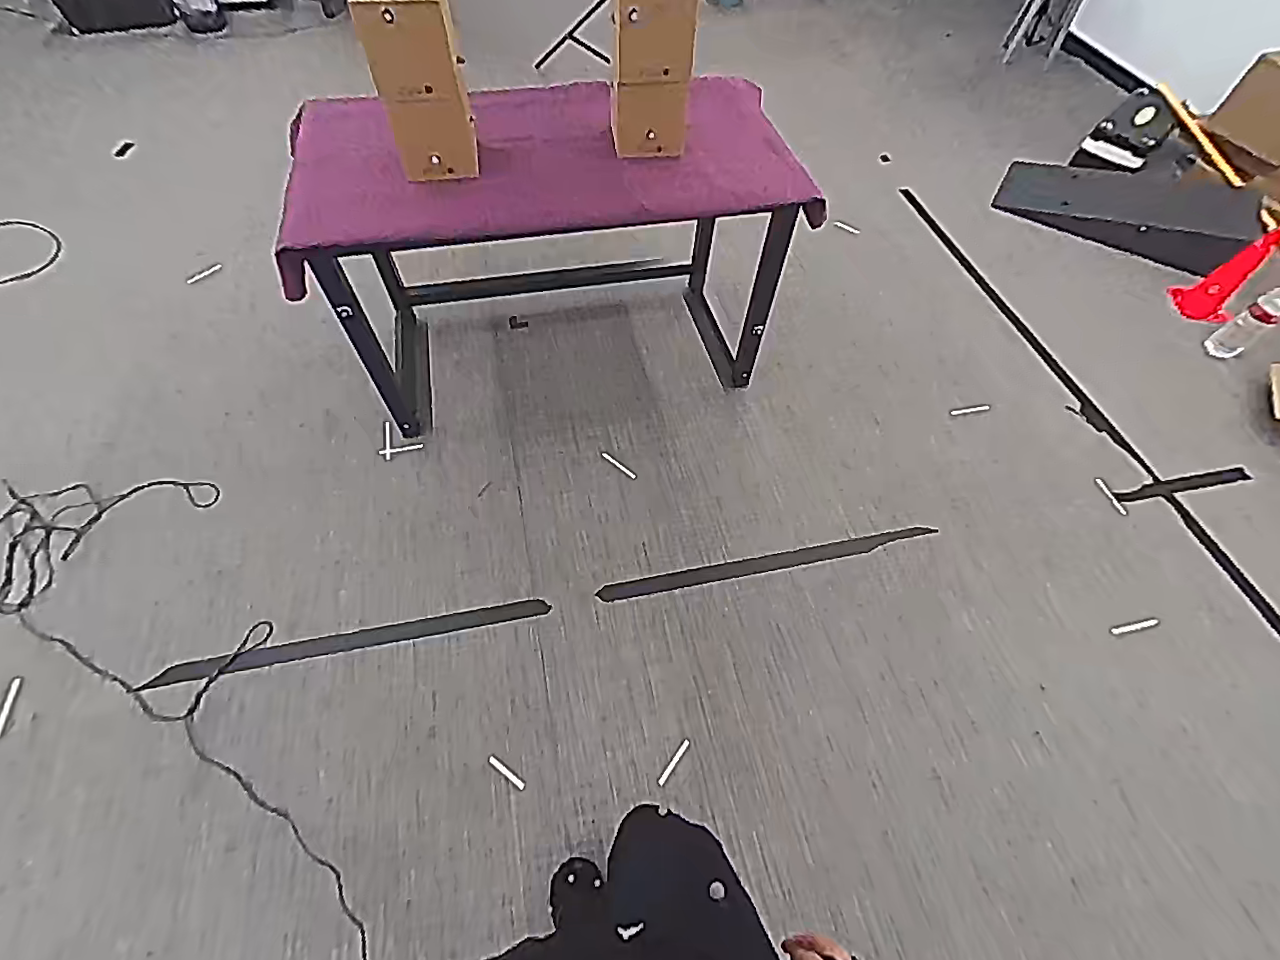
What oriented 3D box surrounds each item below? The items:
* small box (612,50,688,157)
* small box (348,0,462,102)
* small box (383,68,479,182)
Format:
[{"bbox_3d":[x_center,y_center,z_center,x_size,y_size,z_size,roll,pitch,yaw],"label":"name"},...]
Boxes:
[{"bbox_3d":[0.017,-0.921,1.325,0.168,0.176,0.179,-6,59,-5],"label":"small box"},{"bbox_3d":[-0.467,-0.900,1.100,0.168,0.176,0.179,-8,58,-7],"label":"small box"},{"bbox_3d":[-0.471,-0.813,1.239,0.168,0.176,0.179,-9,60,-8],"label":"small box"}]
